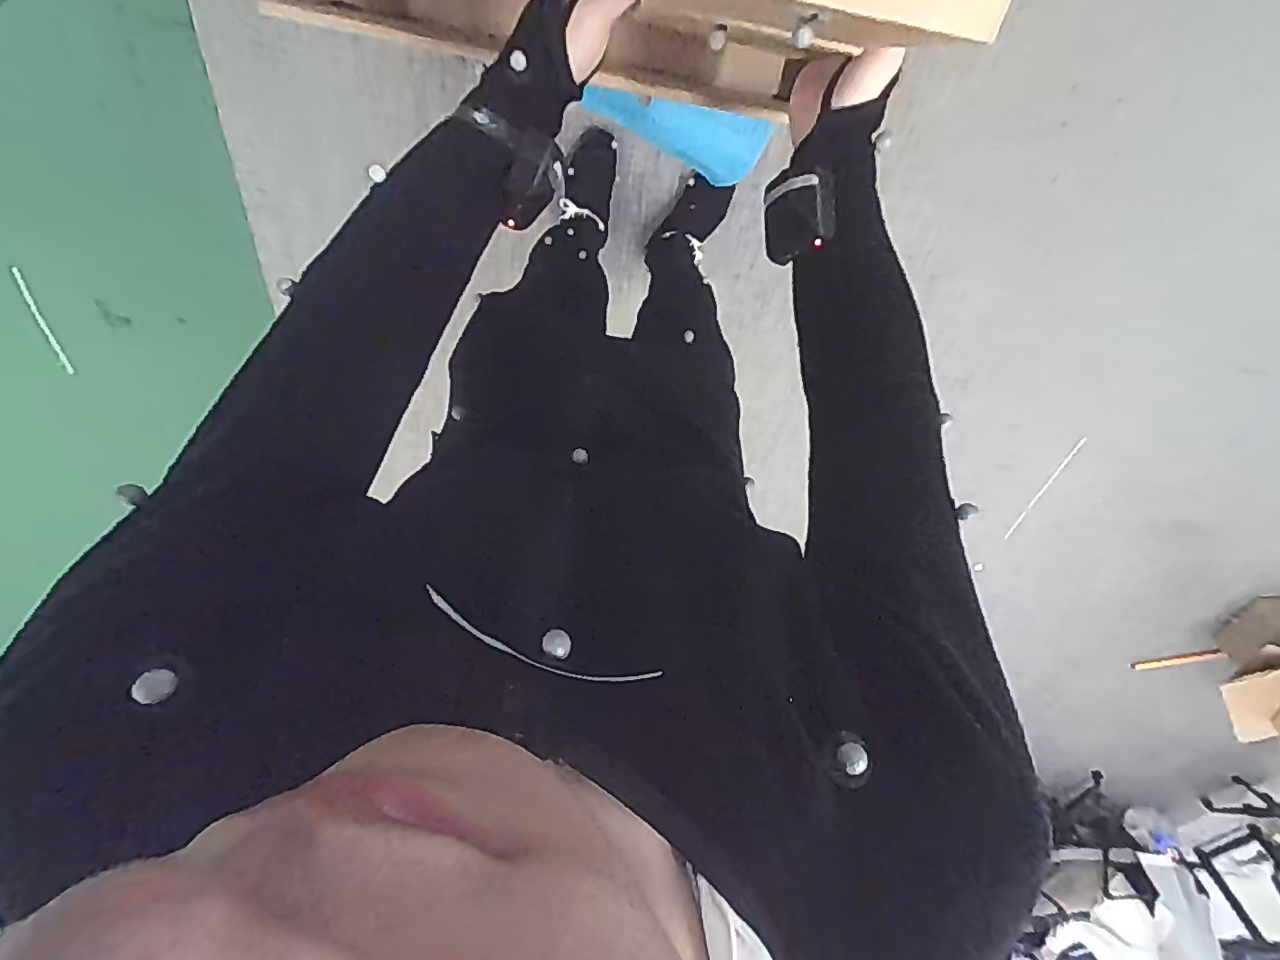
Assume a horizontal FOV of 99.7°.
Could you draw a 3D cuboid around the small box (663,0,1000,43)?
[{"bbox_3d":[0.105,-0.354,0.291,0.179,0.176,0.168,4,128,-8],"label":"small box"}]
